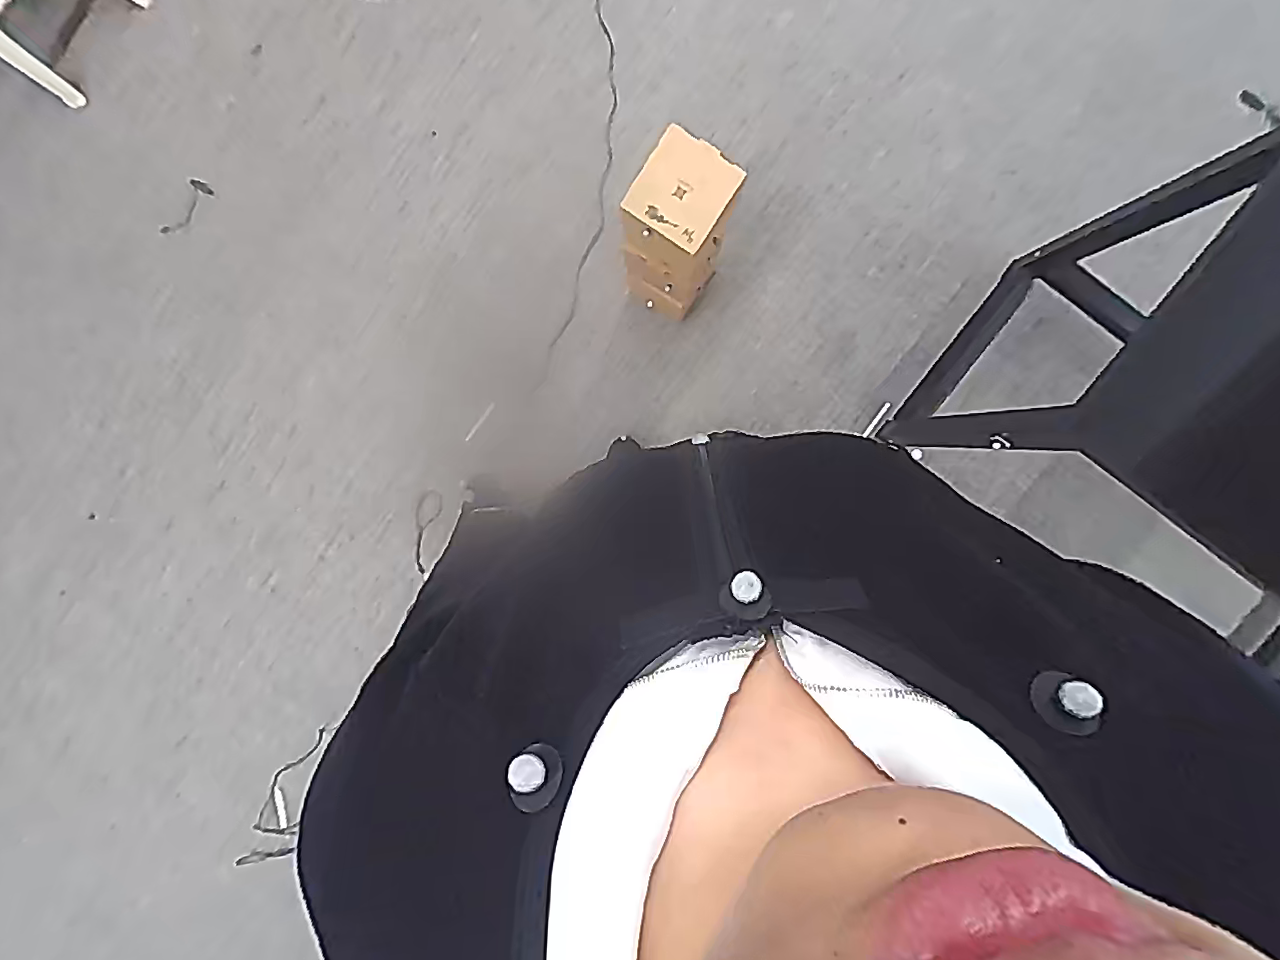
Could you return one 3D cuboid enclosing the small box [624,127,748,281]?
[{"bbox_3d":[0.083,-0.526,1.057,0.168,0.176,0.179,34,94,0],"label":"small box"}]

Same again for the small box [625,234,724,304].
[{"bbox_3d":[0.083,-0.528,1.222,0.168,0.176,0.179,30,93,-1],"label":"small box"}]

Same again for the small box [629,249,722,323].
[{"bbox_3d":[0.088,-0.532,1.384,0.168,0.176,0.179,34,95,0],"label":"small box"}]
